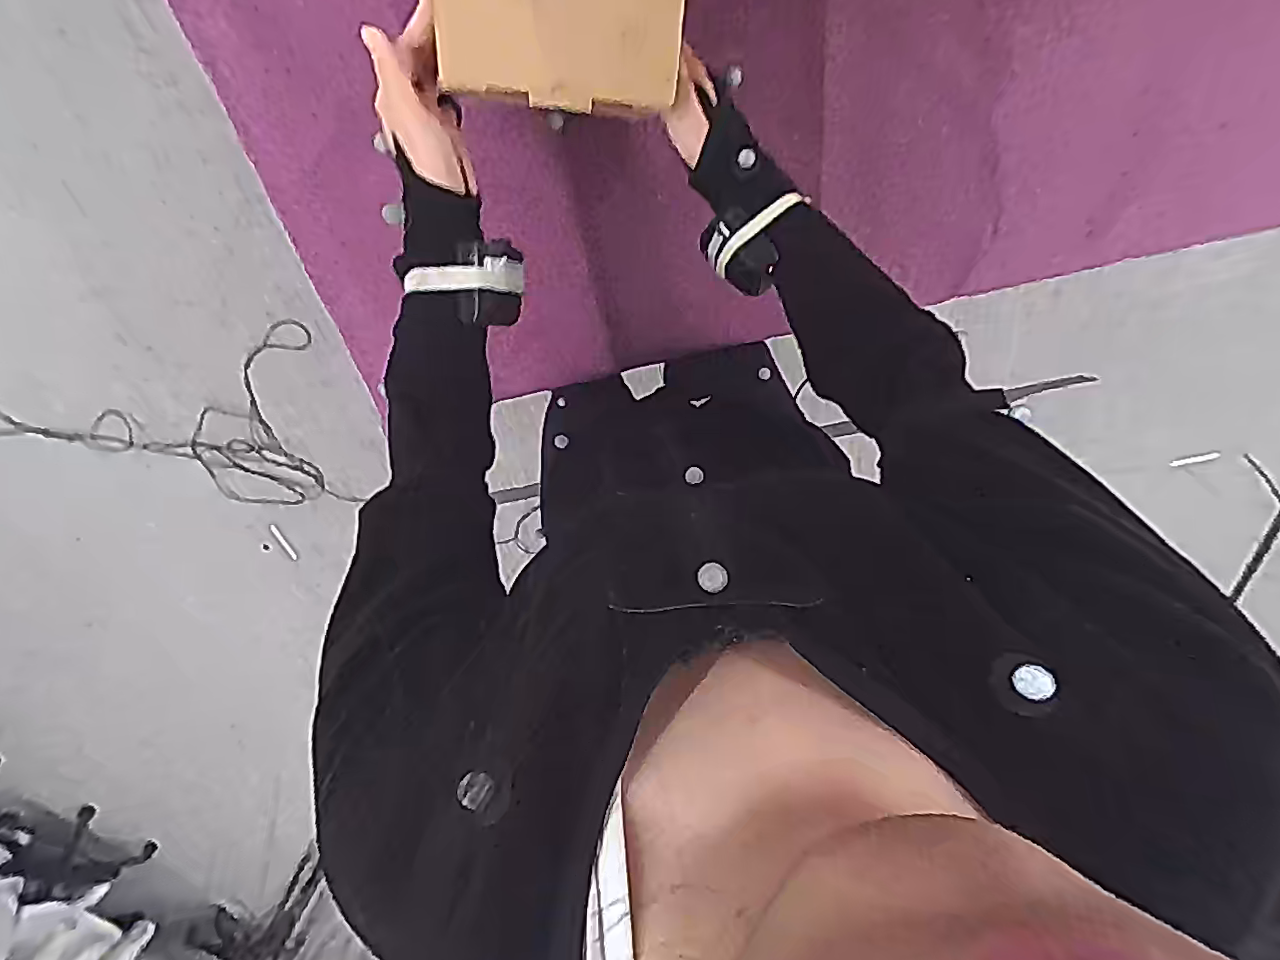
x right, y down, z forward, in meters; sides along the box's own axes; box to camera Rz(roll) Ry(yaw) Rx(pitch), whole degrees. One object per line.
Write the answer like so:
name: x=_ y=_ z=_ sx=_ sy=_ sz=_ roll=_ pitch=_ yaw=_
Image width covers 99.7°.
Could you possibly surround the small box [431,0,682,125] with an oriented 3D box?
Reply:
small box: x=-0.062 y=-0.380 z=0.406 sx=0.168 sy=0.176 sz=0.179 roll=-1 pitch=123 yaw=-11
